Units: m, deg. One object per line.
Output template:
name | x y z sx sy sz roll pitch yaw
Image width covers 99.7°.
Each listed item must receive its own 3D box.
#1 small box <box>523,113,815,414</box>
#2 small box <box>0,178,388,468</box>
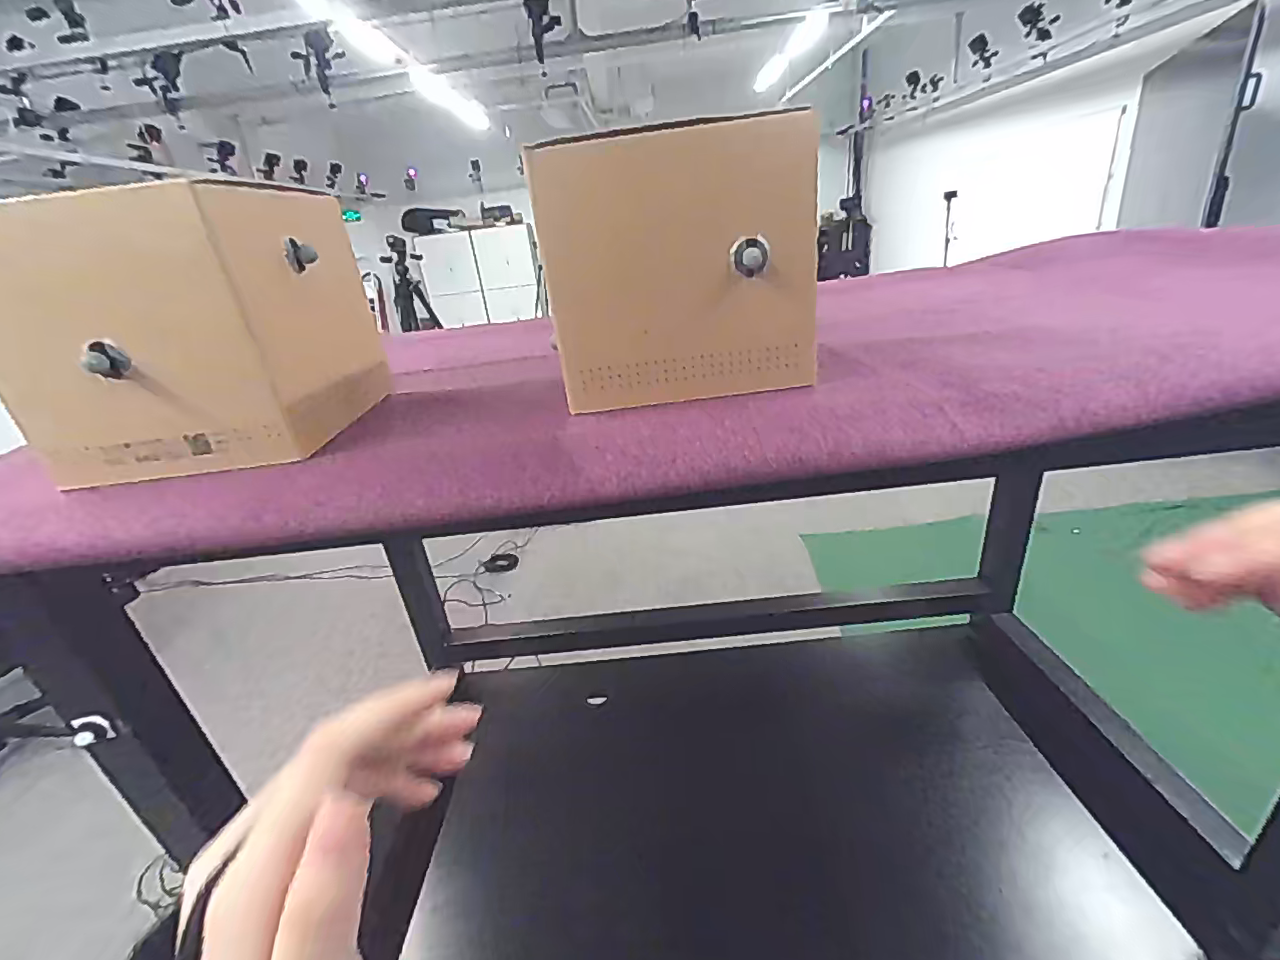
small box | 0.024 -0.162 0.421 0.179 0.176 0.168 -8 24 1
small box | -0.315 -0.114 0.402 0.168 0.176 0.179 -6 25 0
